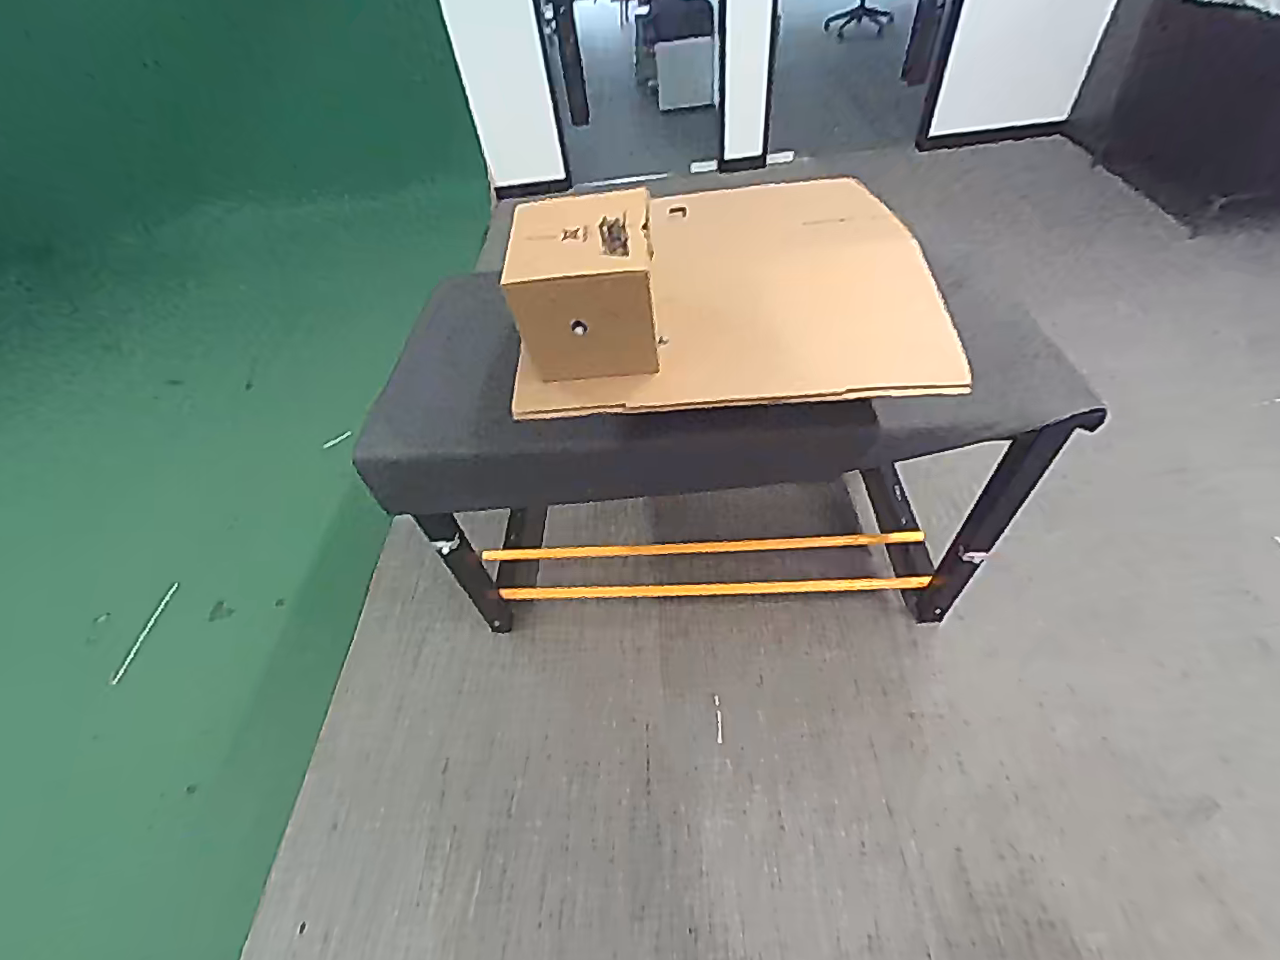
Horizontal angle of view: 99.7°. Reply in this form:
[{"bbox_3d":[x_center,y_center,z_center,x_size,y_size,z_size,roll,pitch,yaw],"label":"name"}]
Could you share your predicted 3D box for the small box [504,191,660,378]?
[{"bbox_3d":[-0.064,-0.257,0.733,0.179,0.176,0.168,-4,58,6],"label":"small box"}]
